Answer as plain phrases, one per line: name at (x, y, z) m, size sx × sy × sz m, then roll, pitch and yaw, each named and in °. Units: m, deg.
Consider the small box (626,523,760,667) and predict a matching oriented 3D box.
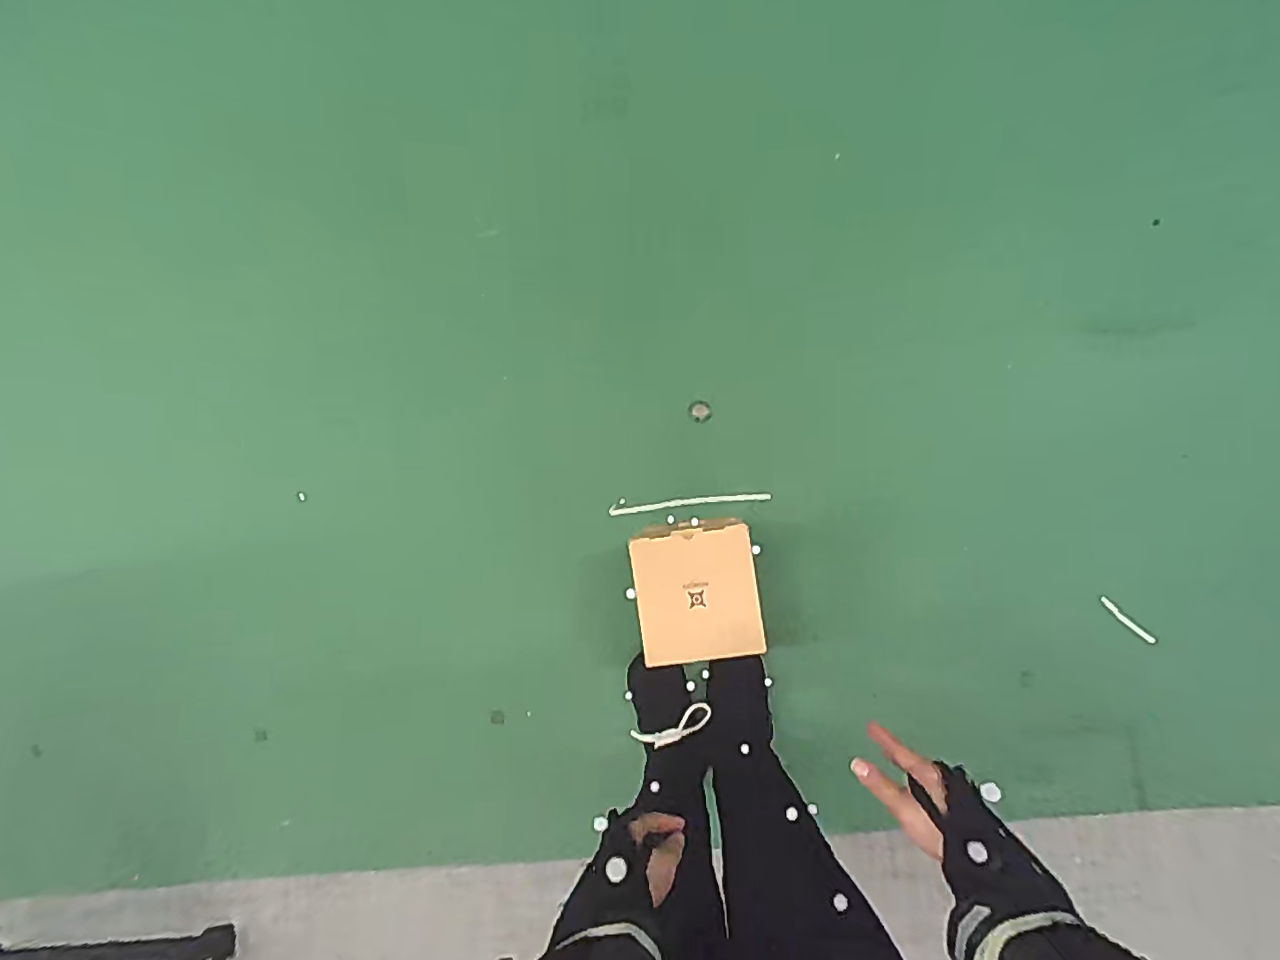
small box at (0.079, 0.163, 0.811) m, size 0.168 × 0.176 × 0.179 m, roll -8°, pitch 86°, yaw 4°
